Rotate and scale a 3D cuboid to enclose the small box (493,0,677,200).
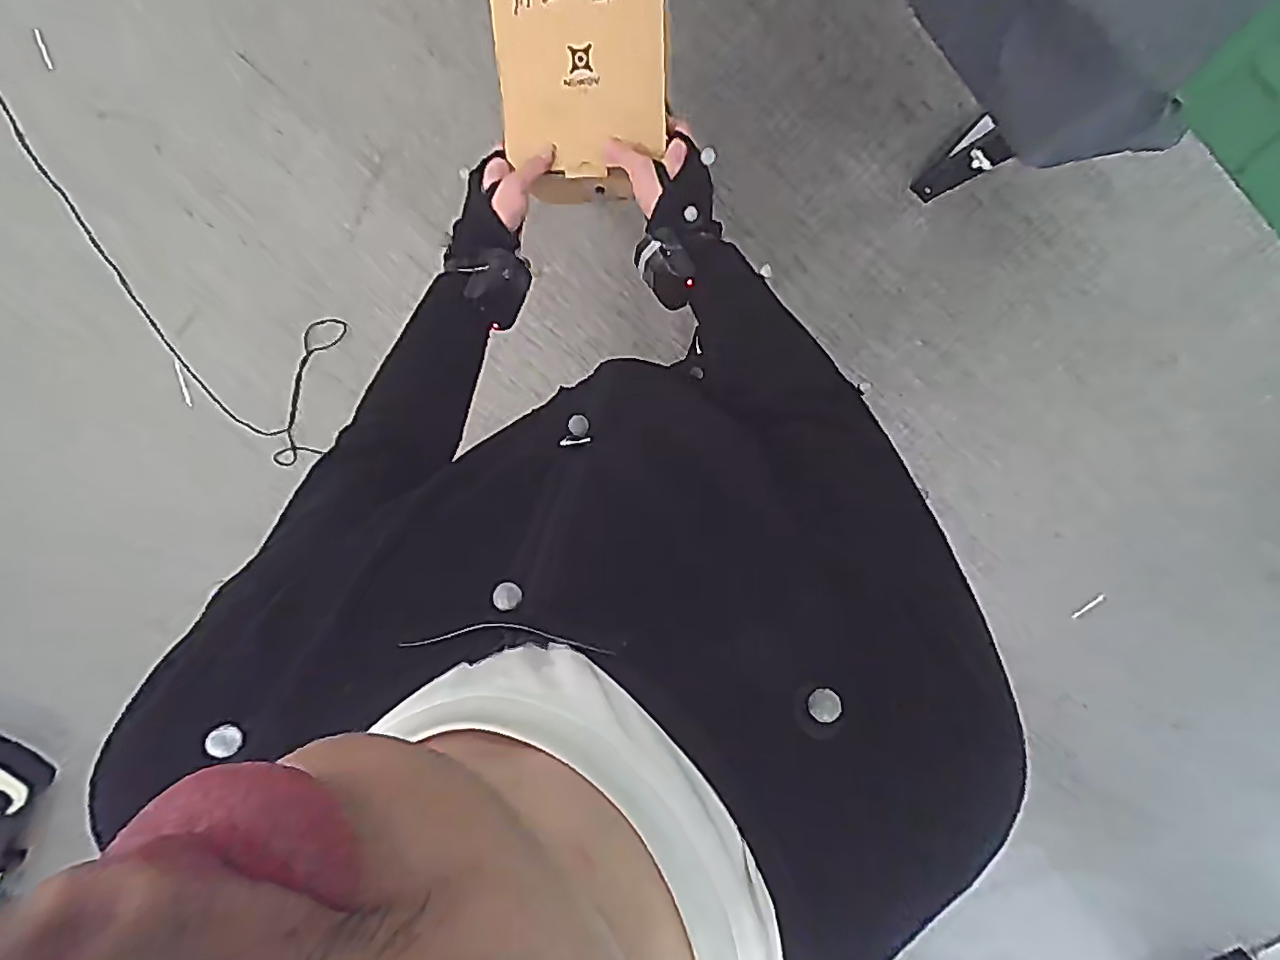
[{"bbox_3d":[-0.047,-0.423,0.604,0.168,0.176,0.179,-2,107,7],"label":"small box"}]
